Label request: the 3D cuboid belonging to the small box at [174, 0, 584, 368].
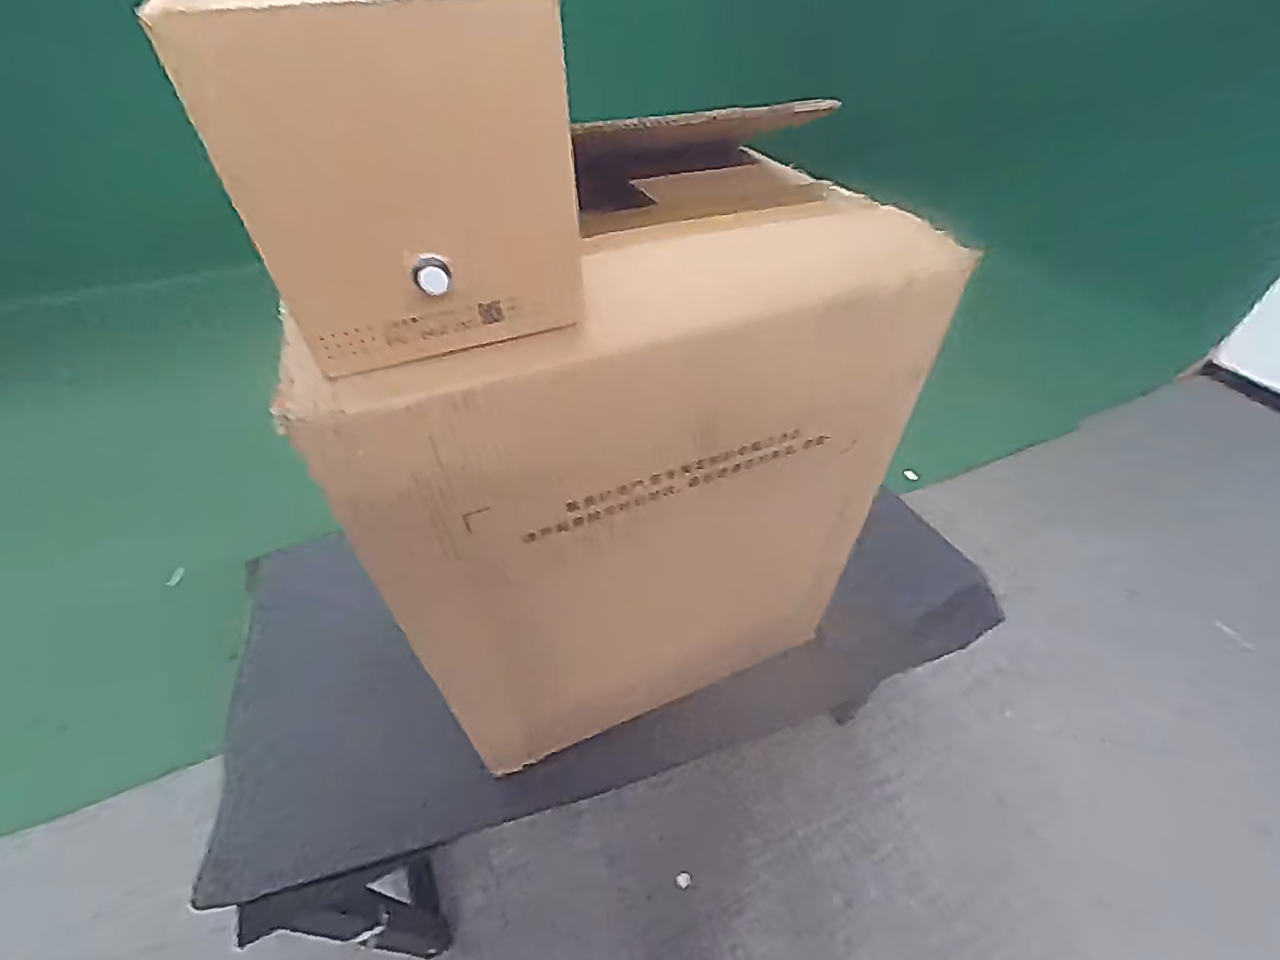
[{"bbox_3d":[-0.142,-0.198,0.348,0.168,0.176,0.179,-17,48,-16],"label":"small box"}]
